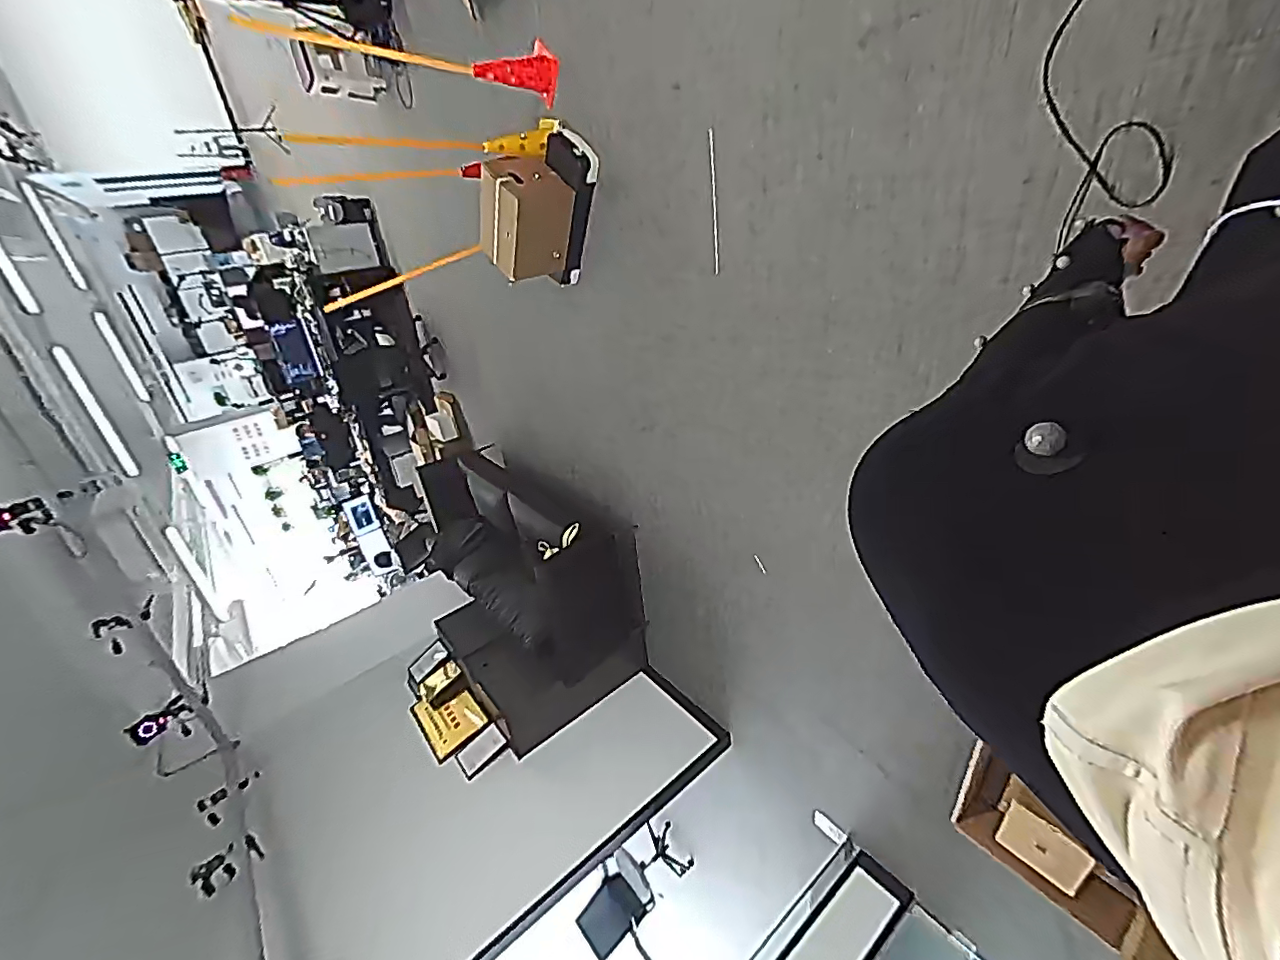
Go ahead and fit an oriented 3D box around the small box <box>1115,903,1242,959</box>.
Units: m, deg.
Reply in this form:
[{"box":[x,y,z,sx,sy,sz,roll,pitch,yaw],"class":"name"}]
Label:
[{"box":[1.015,0.961,1.015,0.168,0.176,0.179,27,133,44],"class":"small box"}]
